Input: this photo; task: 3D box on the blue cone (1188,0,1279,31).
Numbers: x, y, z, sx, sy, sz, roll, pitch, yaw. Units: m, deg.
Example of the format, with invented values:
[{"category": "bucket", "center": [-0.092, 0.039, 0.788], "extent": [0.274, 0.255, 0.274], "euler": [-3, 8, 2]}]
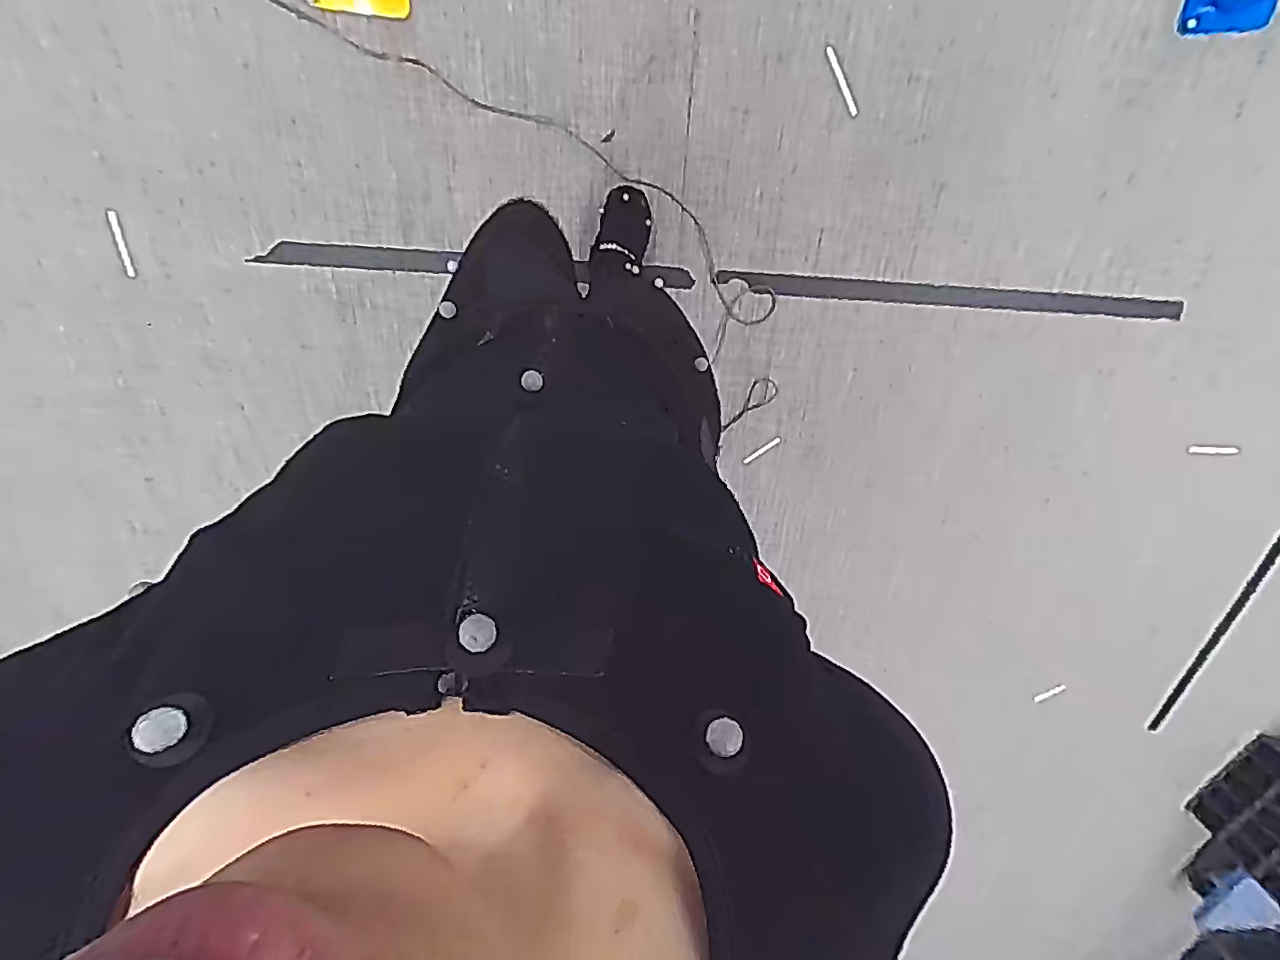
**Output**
[{"category": "blue cone", "center": [1.231, -0.952, 0.940], "extent": [0.193, 0.380, 0.192], "euler": [-3, 117, -2]}]
